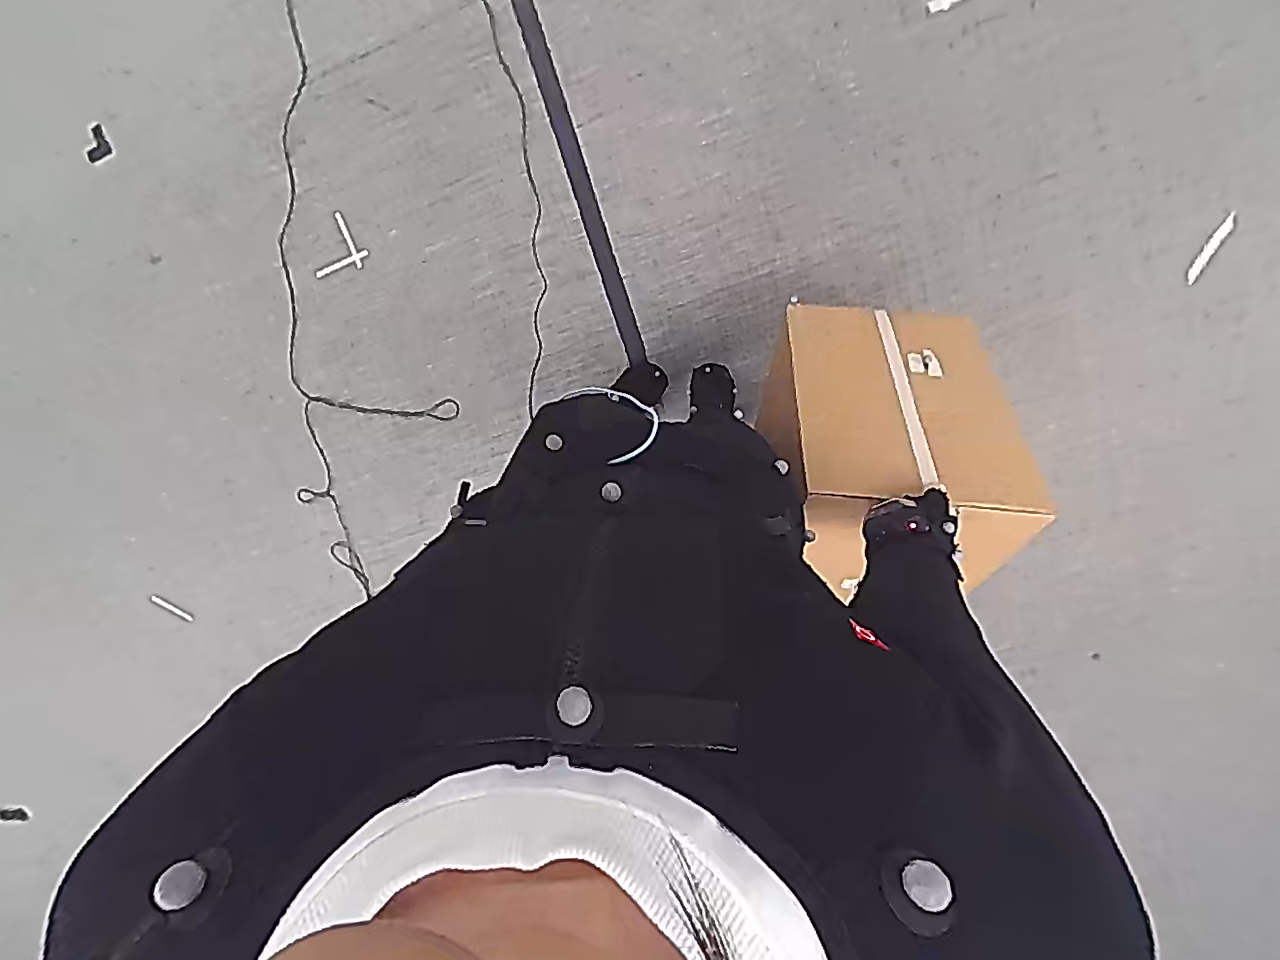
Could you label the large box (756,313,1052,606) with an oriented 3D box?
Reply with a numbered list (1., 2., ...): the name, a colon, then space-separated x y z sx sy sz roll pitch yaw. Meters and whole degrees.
1. large box: 0.389 -0.034 0.933 0.320 0.408 0.320 5 141 1
